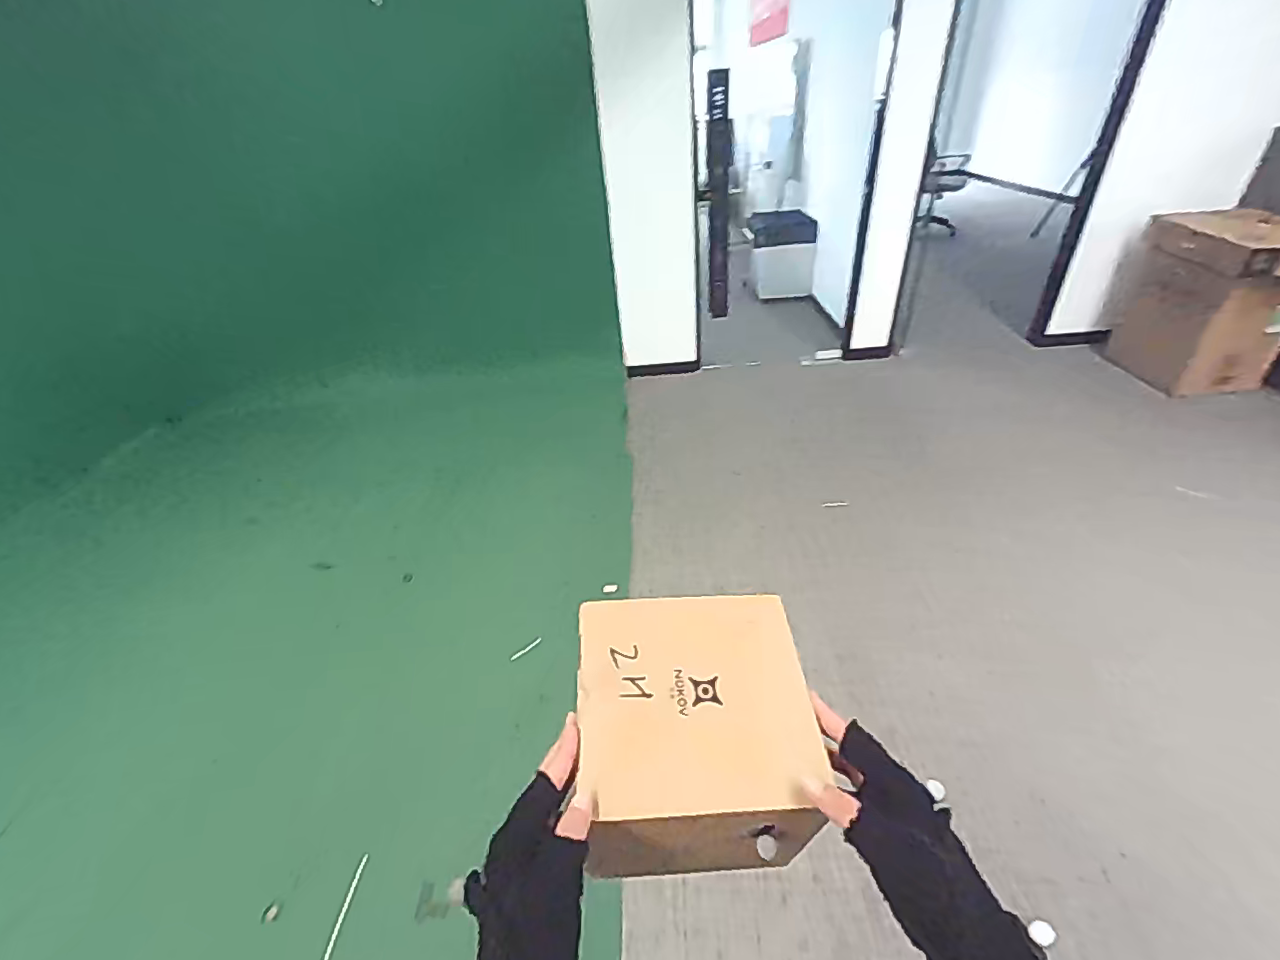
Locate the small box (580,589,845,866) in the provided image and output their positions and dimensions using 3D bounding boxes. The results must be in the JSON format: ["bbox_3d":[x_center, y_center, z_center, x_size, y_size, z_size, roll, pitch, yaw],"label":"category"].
[{"bbox_3d":[0.043,0.209,0.459,0.179,0.176,0.168,-1,44,-3],"label":"small box"}]
